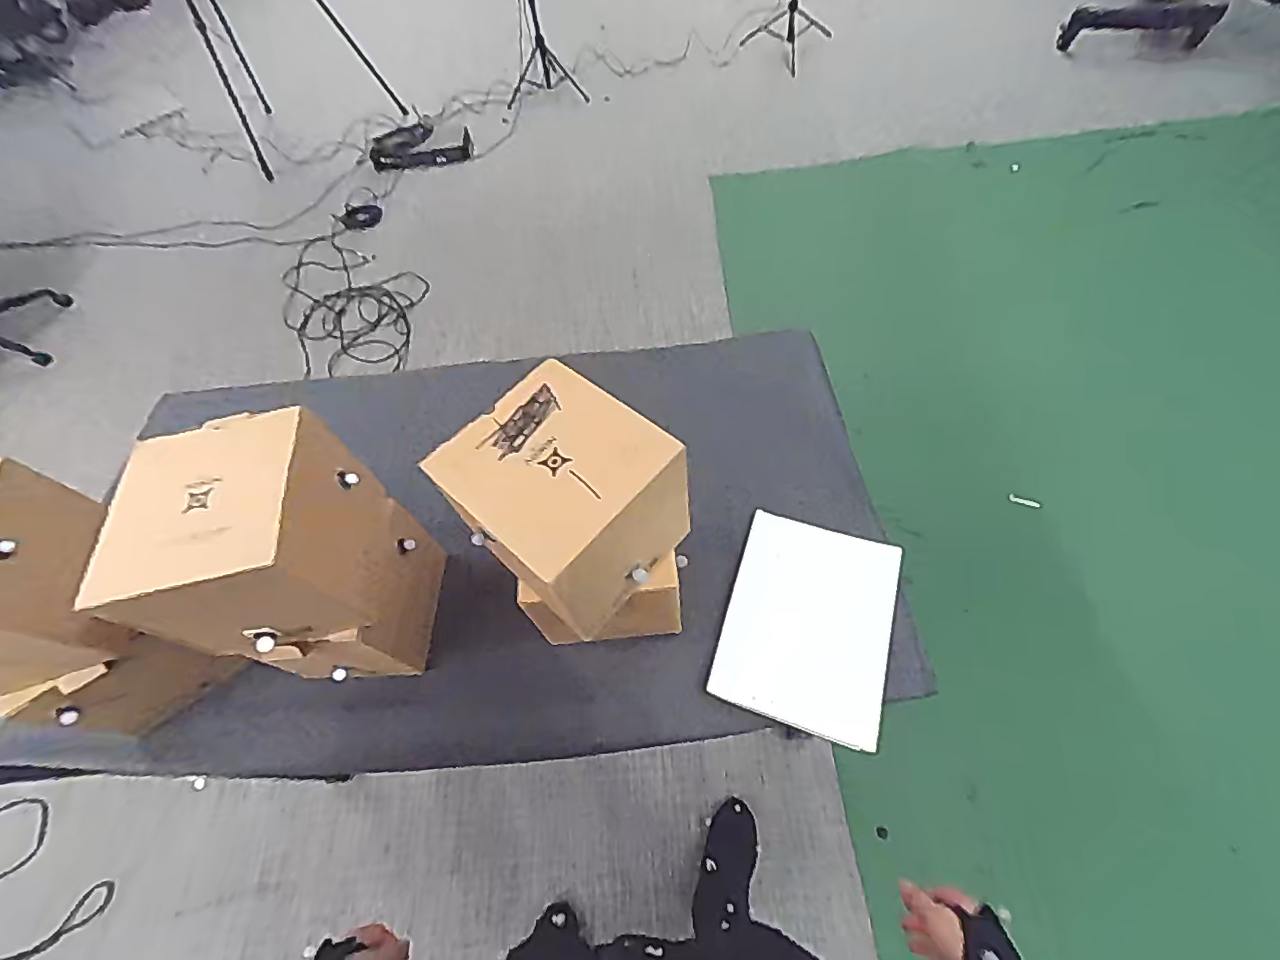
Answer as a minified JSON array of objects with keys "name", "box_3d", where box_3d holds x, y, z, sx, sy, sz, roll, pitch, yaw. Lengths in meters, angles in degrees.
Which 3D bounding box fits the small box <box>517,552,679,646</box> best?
[{"name":"small box","box_3d":[-0.044,0.101,0.685,0.179,0.176,0.168,-7,57,3]}]

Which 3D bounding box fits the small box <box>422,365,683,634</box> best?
[{"name":"small box","box_3d":[-0.073,0.026,0.541,0.179,0.176,0.168,36,69,25]}]

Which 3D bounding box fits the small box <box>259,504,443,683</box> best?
[{"name":"small box","box_3d":[-0.372,0.149,0.692,0.168,0.176,0.179,-4,58,5]}]

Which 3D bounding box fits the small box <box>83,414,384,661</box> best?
[{"name":"small box","box_3d":[-0.384,0.065,0.554,0.168,0.176,0.179,-14,58,-1]}]

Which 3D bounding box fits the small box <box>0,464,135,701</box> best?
[{"name":"small box","box_3d":[-0.668,0.117,0.554,0.179,0.176,0.168,-19,58,-4]}]
